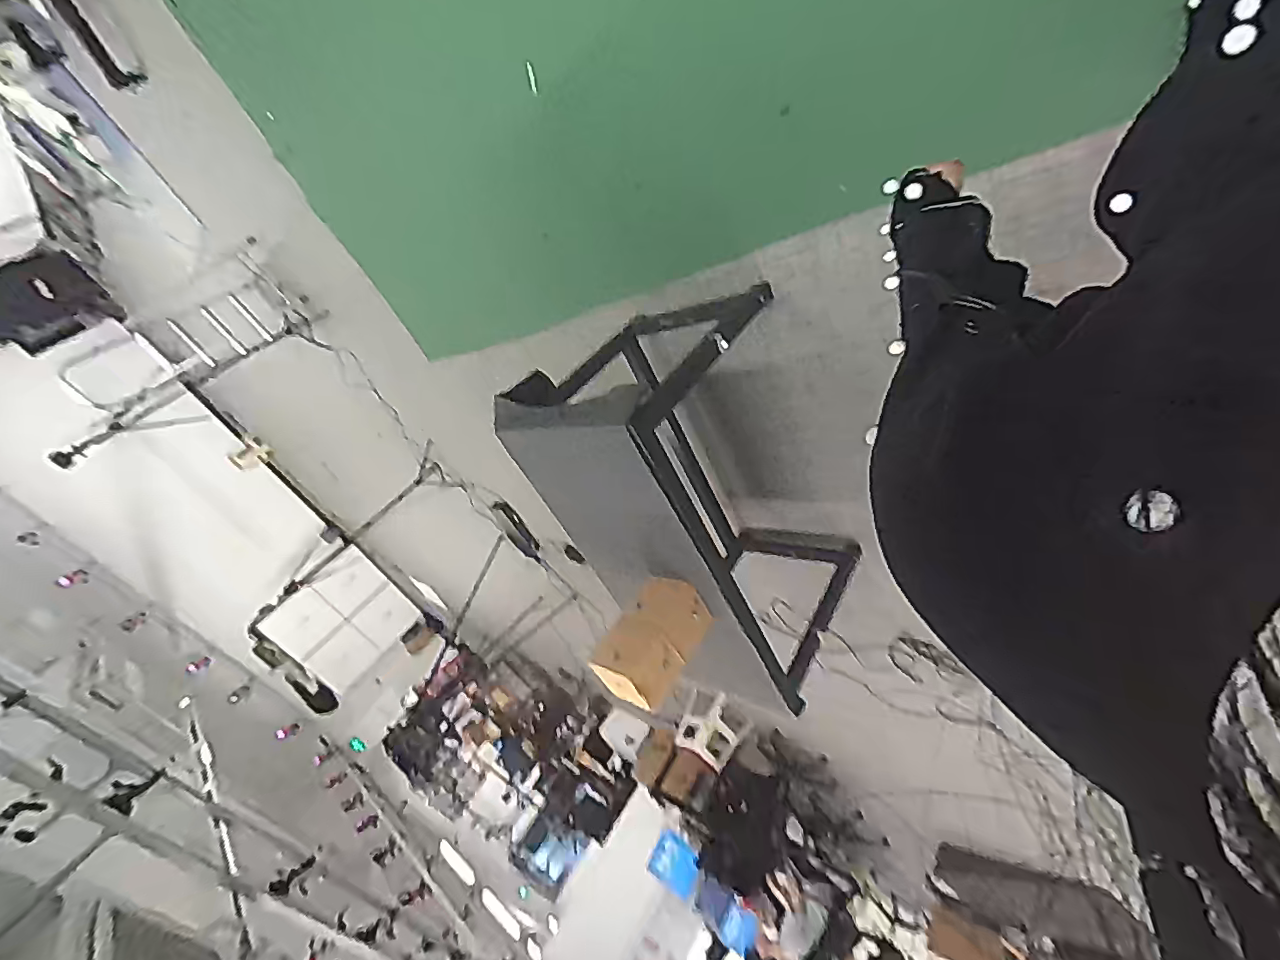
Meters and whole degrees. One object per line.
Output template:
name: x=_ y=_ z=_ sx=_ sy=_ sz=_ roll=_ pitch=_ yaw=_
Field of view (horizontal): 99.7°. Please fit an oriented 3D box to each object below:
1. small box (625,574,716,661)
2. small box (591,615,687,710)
small box: x=0.094 y=0.403 z=1.617 sx=0.179 sy=0.176 sz=0.168 roll=2 pitch=133 yaw=47
small box: x=0.002 y=0.509 z=1.534 sx=0.179 sy=0.176 sz=0.168 roll=1 pitch=132 yaw=47
